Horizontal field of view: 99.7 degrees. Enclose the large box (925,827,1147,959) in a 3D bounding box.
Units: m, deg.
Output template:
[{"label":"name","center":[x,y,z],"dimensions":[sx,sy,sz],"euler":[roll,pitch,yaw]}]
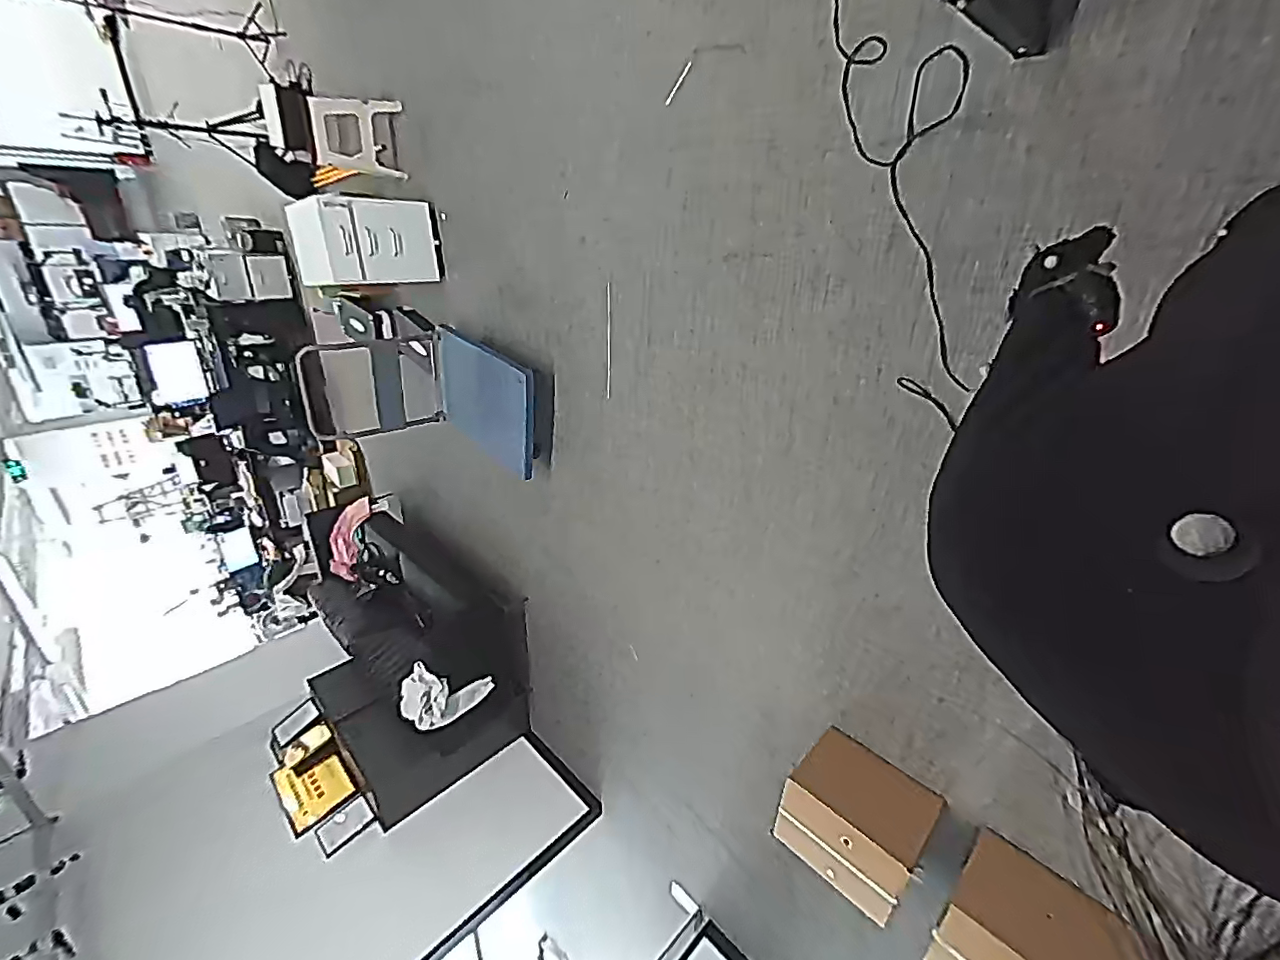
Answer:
[{"label":"large box","center":[1.087,1.298,1.507],"dimensions":[0.408,0.320,0.320],"euler":[25,123,37]}]
